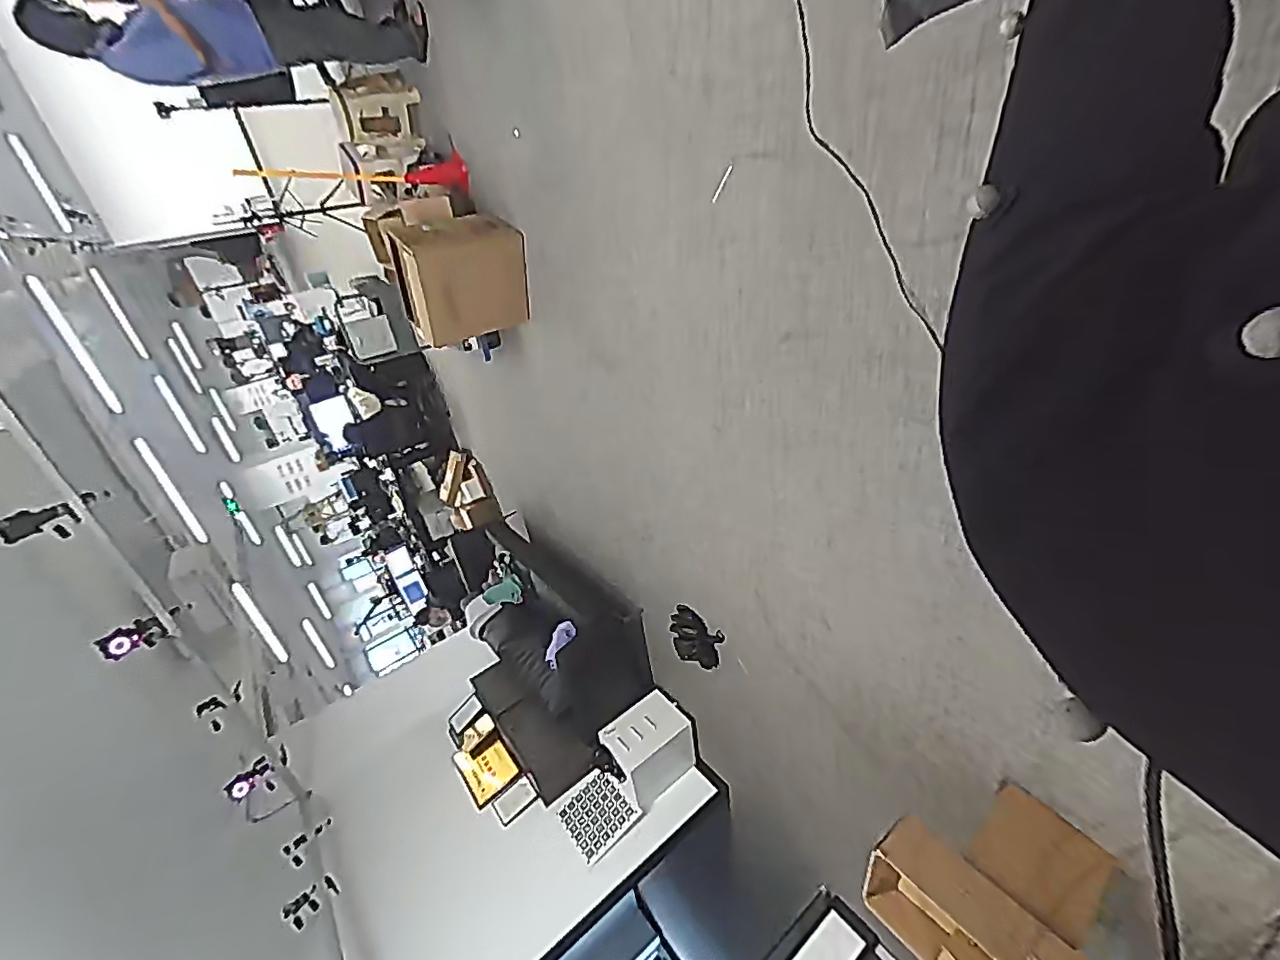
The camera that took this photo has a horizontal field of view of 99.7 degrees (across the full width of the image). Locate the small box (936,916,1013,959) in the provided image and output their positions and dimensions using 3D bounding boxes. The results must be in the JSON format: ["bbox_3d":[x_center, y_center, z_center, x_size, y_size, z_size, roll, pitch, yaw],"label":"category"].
[{"bbox_3d":[1.011,1.478,1.630,0.168,0.176,0.179,32,141,47],"label":"small box"}]
